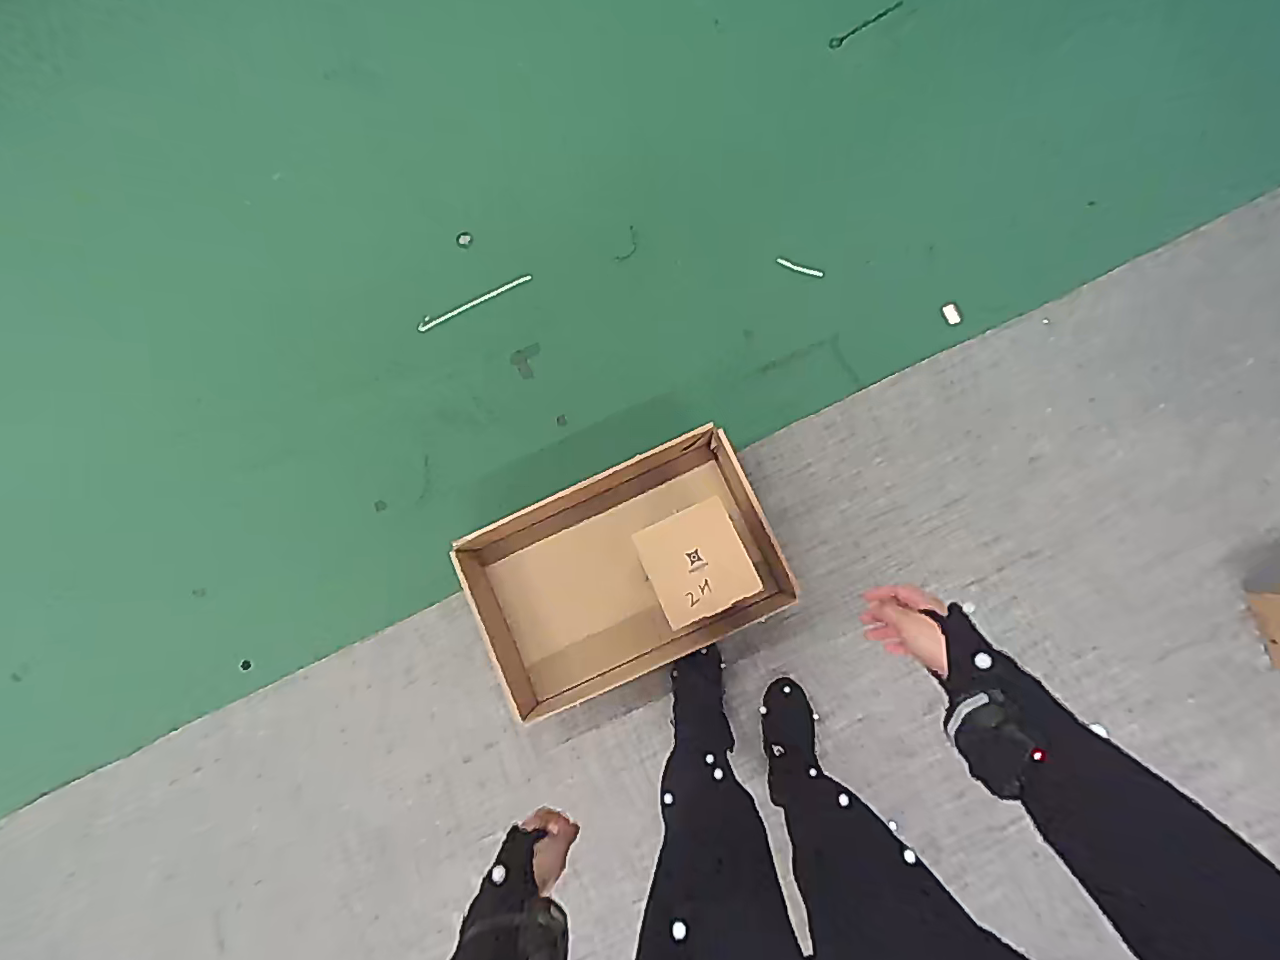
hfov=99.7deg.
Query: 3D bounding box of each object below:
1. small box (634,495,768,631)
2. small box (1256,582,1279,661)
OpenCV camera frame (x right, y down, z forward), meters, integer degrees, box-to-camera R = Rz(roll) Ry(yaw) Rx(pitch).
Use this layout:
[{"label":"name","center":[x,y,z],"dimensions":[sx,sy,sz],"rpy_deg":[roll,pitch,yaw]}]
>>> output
[{"label":"small box","center":[0.102,0.144,0.953],"dimensions":[0.168,0.176,0.179],"rpy_deg":[-25,82,1]},{"label":"small box","center":[1.392,0.282,1.062],"dimensions":[0.179,0.176,0.168],"rpy_deg":[-15,81,3]}]
